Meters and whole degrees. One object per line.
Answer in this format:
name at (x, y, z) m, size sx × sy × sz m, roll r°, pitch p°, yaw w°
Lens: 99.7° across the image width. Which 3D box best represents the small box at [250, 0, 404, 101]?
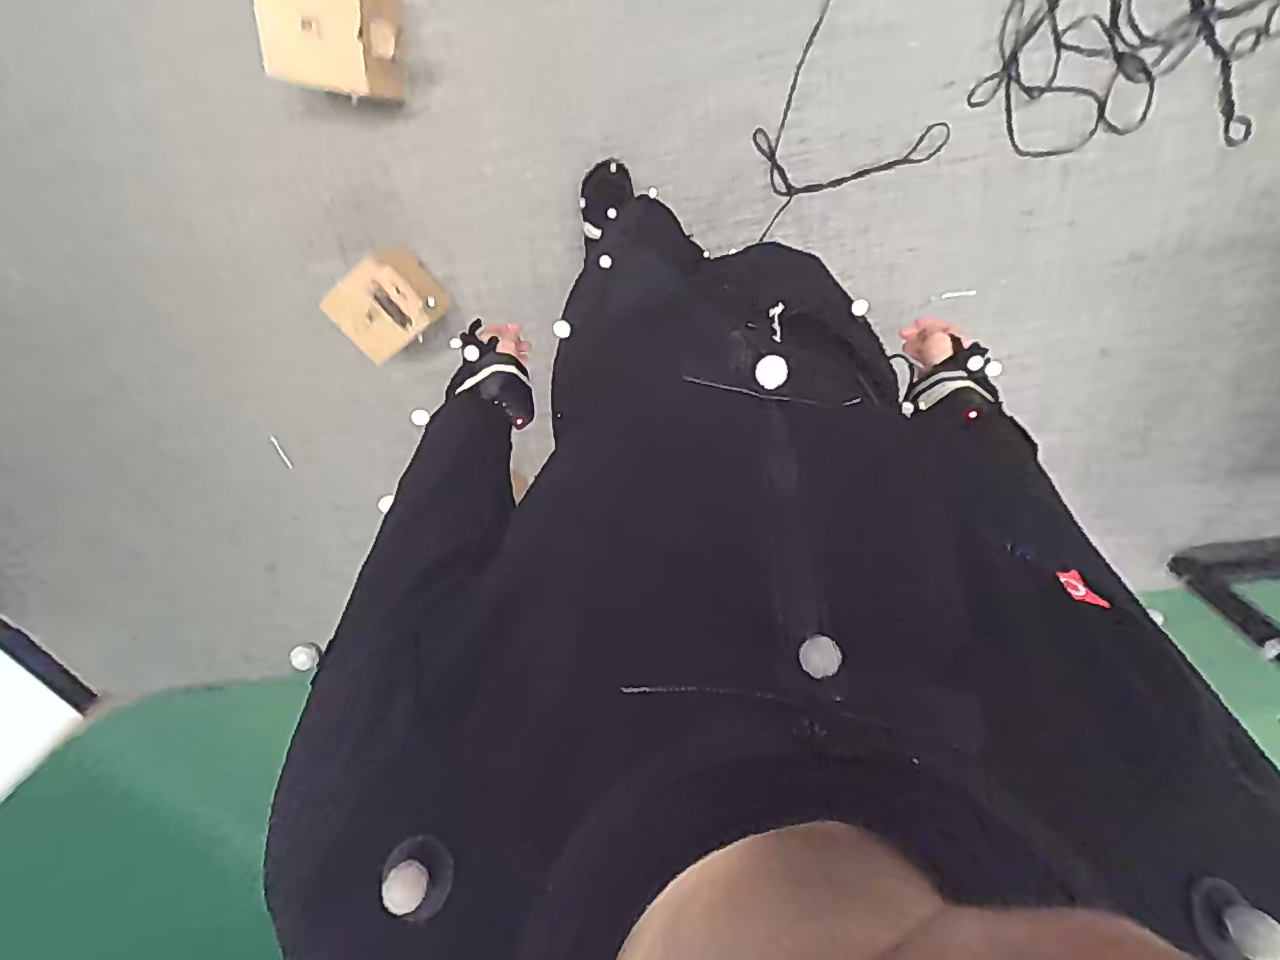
small box at (-0.536, -0.775, 0.940) m, size 0.179 × 0.176 × 0.168 m, roll 9°, pitch 122°, yaw -3°
